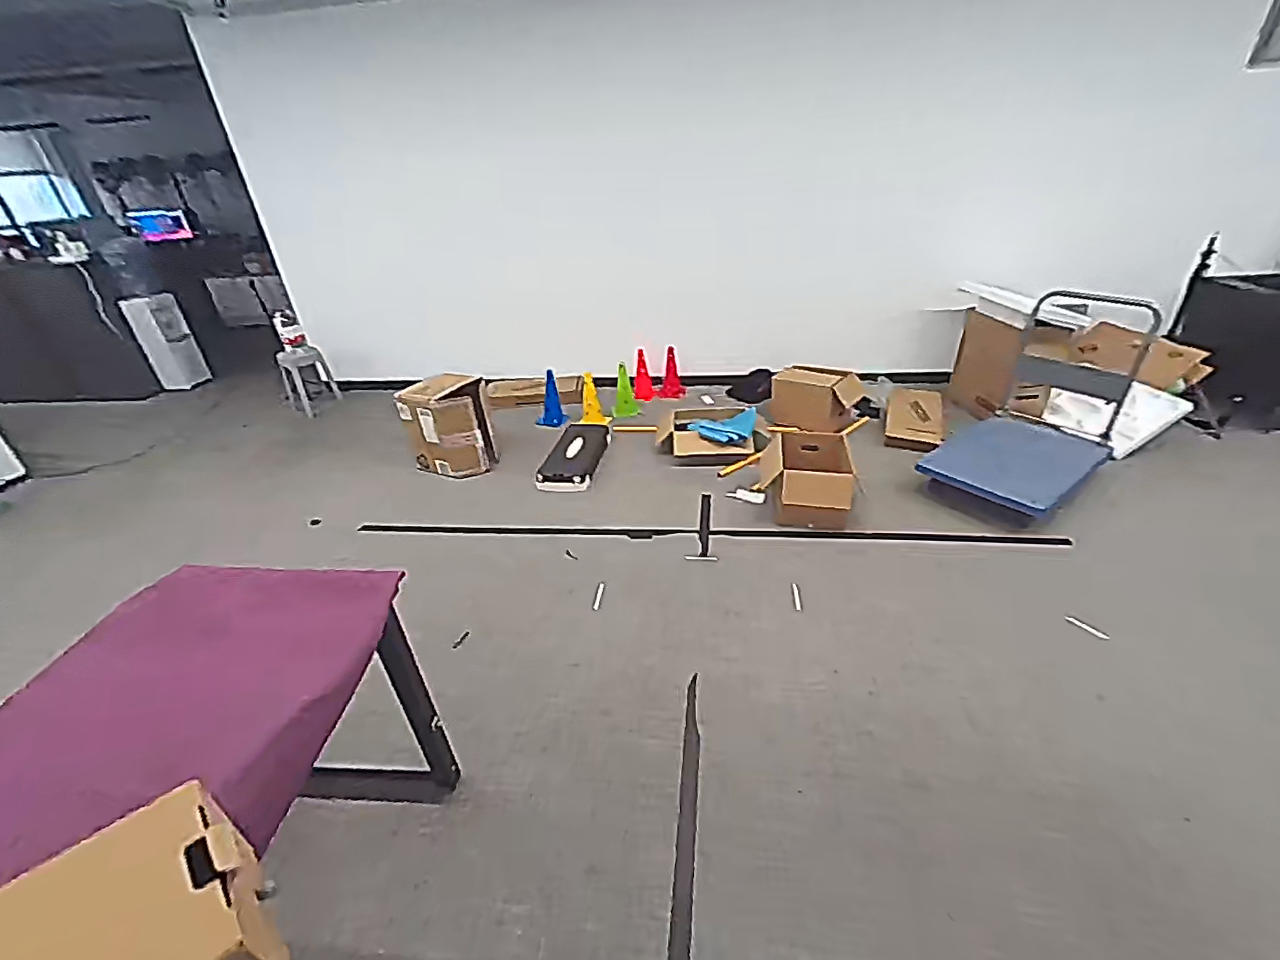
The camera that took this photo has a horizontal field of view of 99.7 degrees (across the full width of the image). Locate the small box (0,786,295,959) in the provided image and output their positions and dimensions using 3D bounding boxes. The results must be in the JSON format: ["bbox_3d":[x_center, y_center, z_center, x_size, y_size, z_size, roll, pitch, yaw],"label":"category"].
[{"bbox_3d":[-0.429,0.422,0.464,0.179,0.176,0.168,-25,46,-37],"label":"small box"}]
